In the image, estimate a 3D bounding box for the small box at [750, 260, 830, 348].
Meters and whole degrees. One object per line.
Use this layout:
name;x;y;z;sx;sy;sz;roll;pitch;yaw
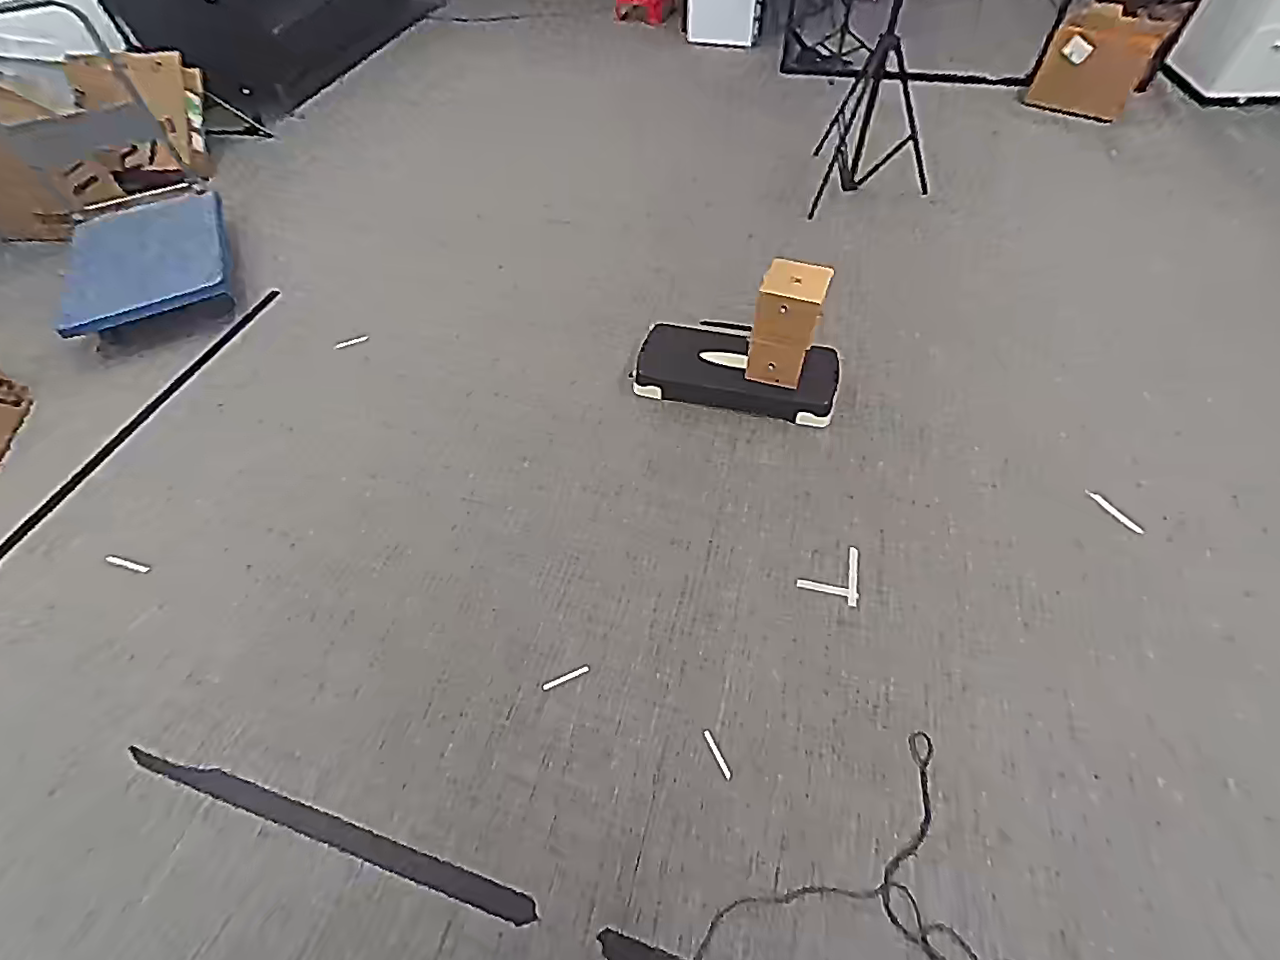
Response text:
small box;0.435;-0.510;1.580;0.179;0.176;0.168;17;58;16

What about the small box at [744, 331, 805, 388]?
small box;0.432;-0.419;1.716;0.168;0.176;0.179;15;57;13
